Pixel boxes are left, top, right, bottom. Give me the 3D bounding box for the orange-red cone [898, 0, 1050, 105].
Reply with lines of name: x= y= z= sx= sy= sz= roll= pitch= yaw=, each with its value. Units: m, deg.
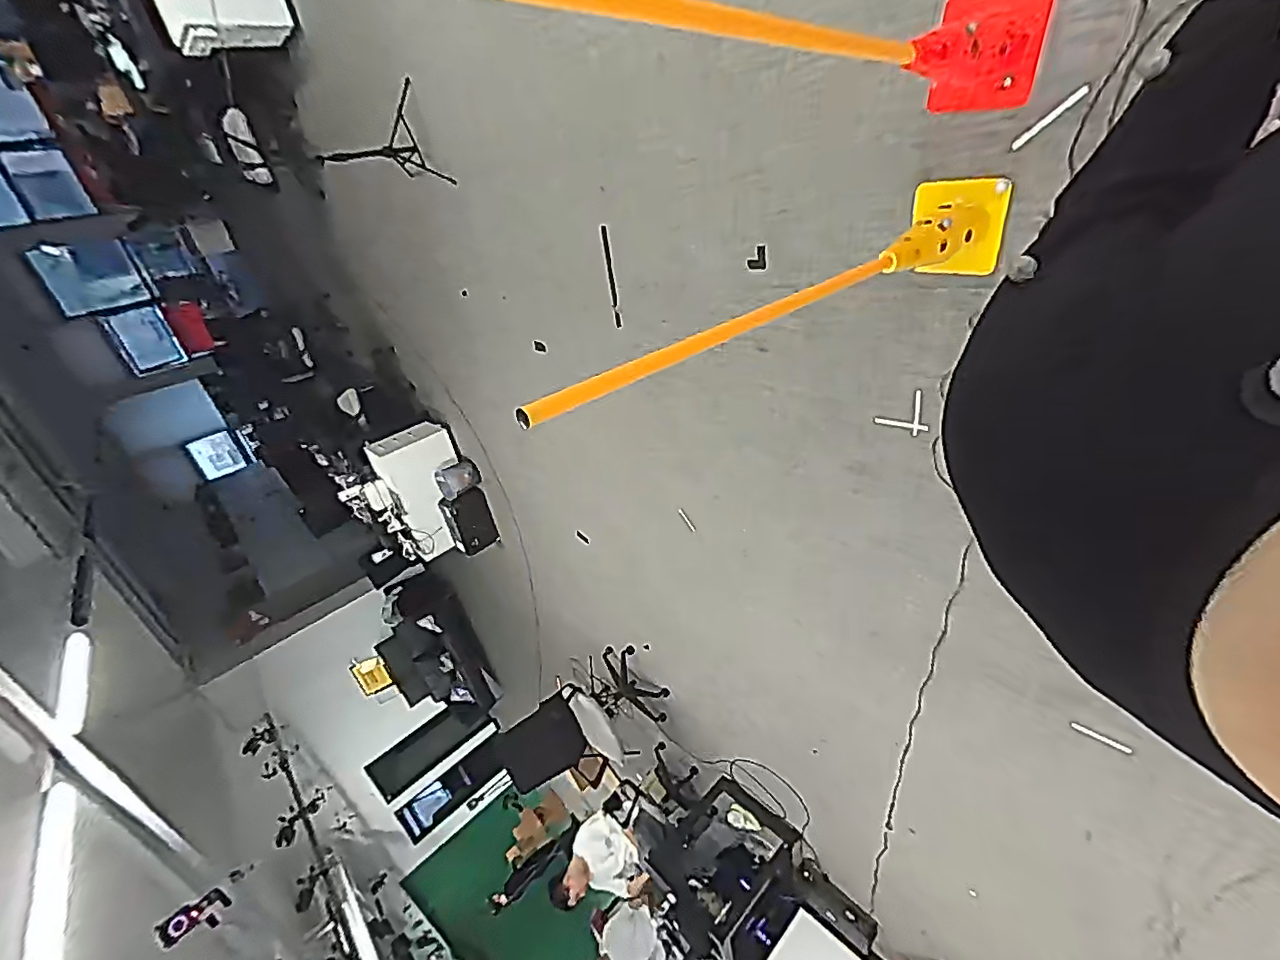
orange-red cone: x=0.563 y=-0.795 z=0.982 sx=0.198 sy=0.360 sz=0.199 roll=27 pitch=135 yaw=37
